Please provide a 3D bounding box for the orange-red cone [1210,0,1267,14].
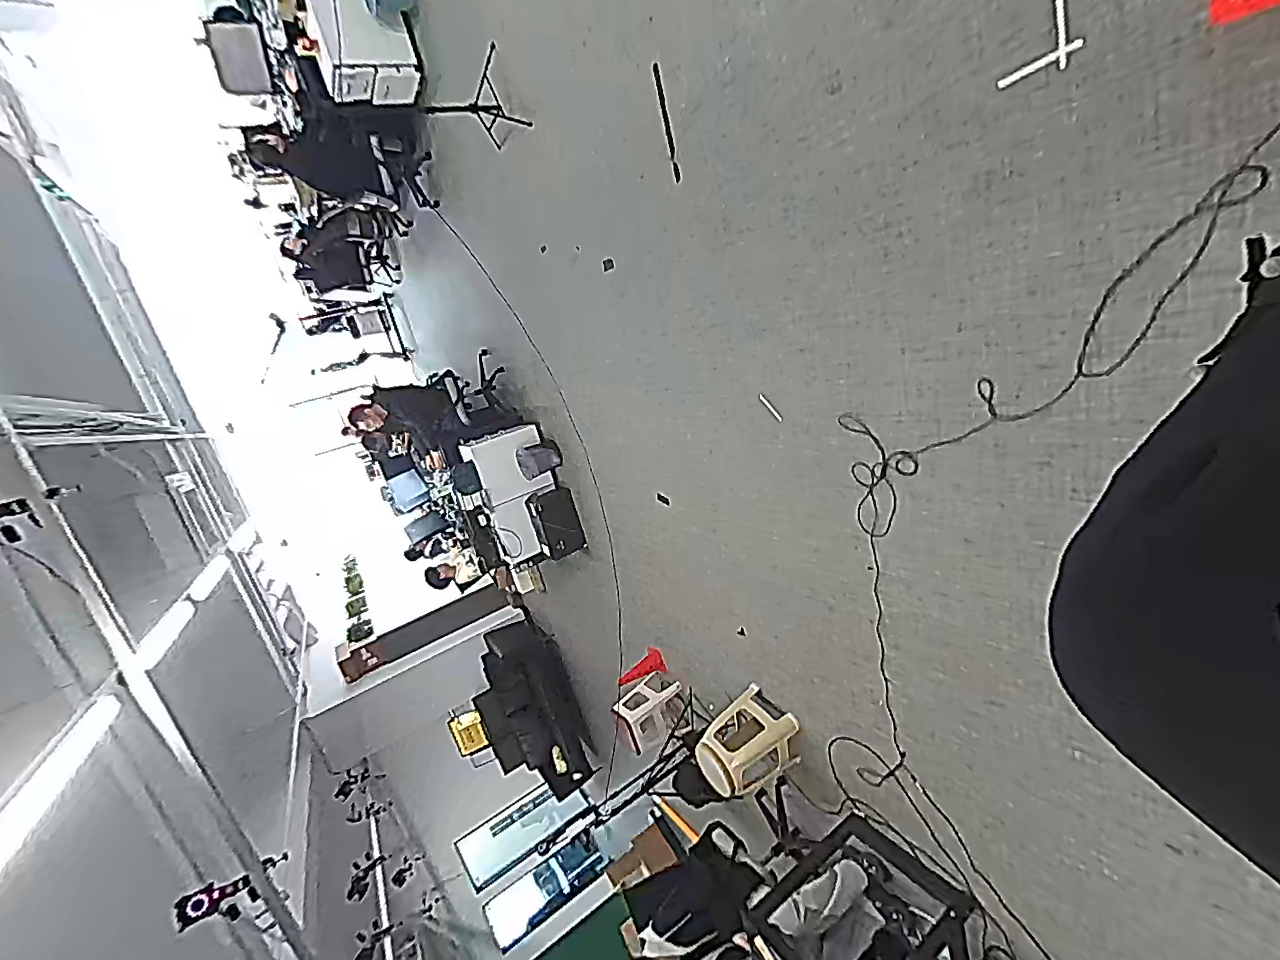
[{"bbox_3d":[0.835,-0.778,0.710,0.199,0.360,0.198,20,126,57],"label":"orange-red cone"}]
